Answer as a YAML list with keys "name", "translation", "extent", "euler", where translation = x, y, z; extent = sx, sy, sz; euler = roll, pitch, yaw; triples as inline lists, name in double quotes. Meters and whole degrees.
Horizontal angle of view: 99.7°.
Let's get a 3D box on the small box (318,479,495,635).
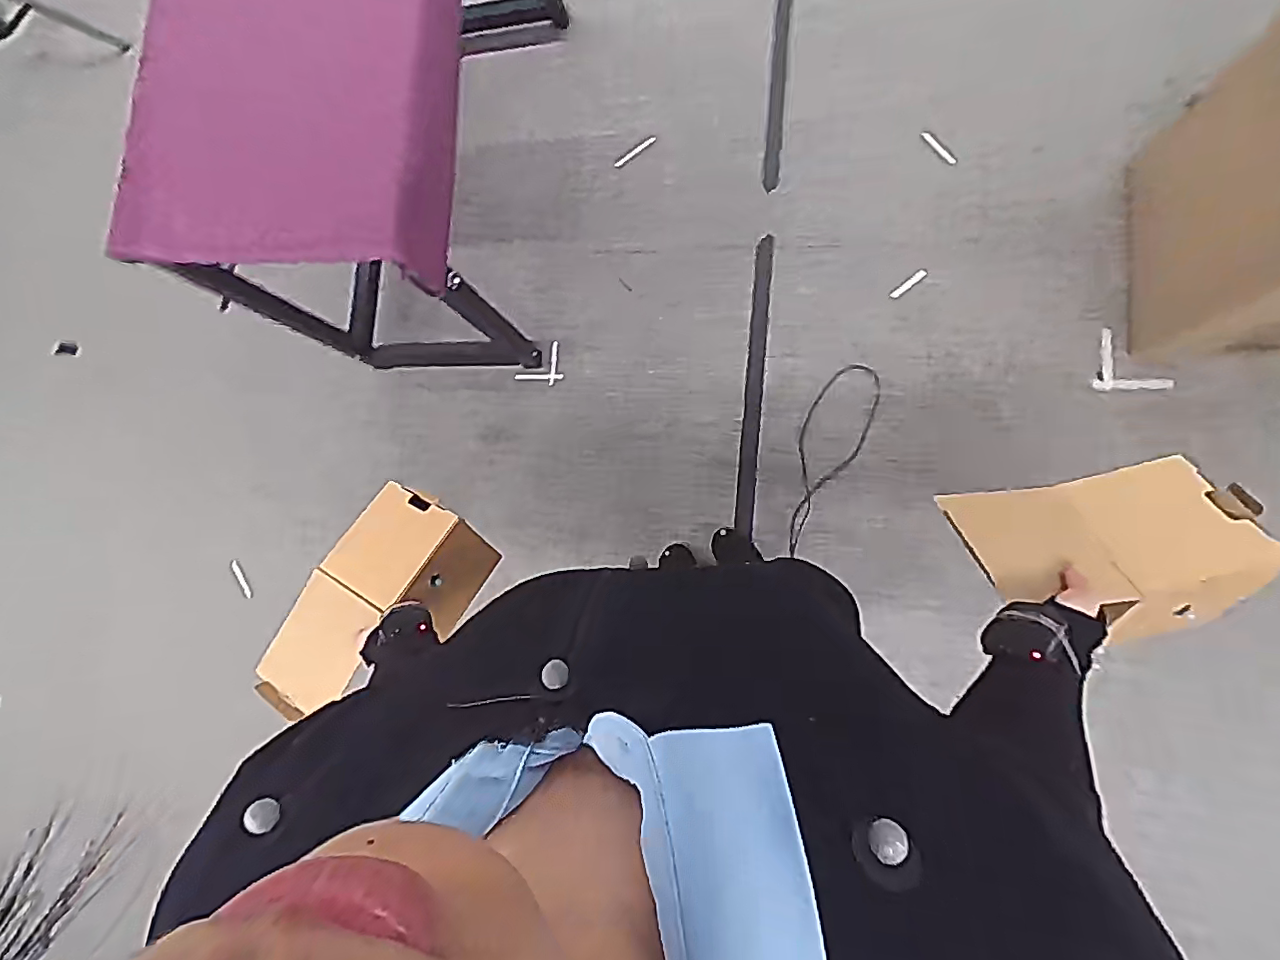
- name: "small box"
  translation: [-0.376, 0.134, 0.904]
  extent: [0.168, 0.176, 0.179]
  euler: [24, 67, 23]
